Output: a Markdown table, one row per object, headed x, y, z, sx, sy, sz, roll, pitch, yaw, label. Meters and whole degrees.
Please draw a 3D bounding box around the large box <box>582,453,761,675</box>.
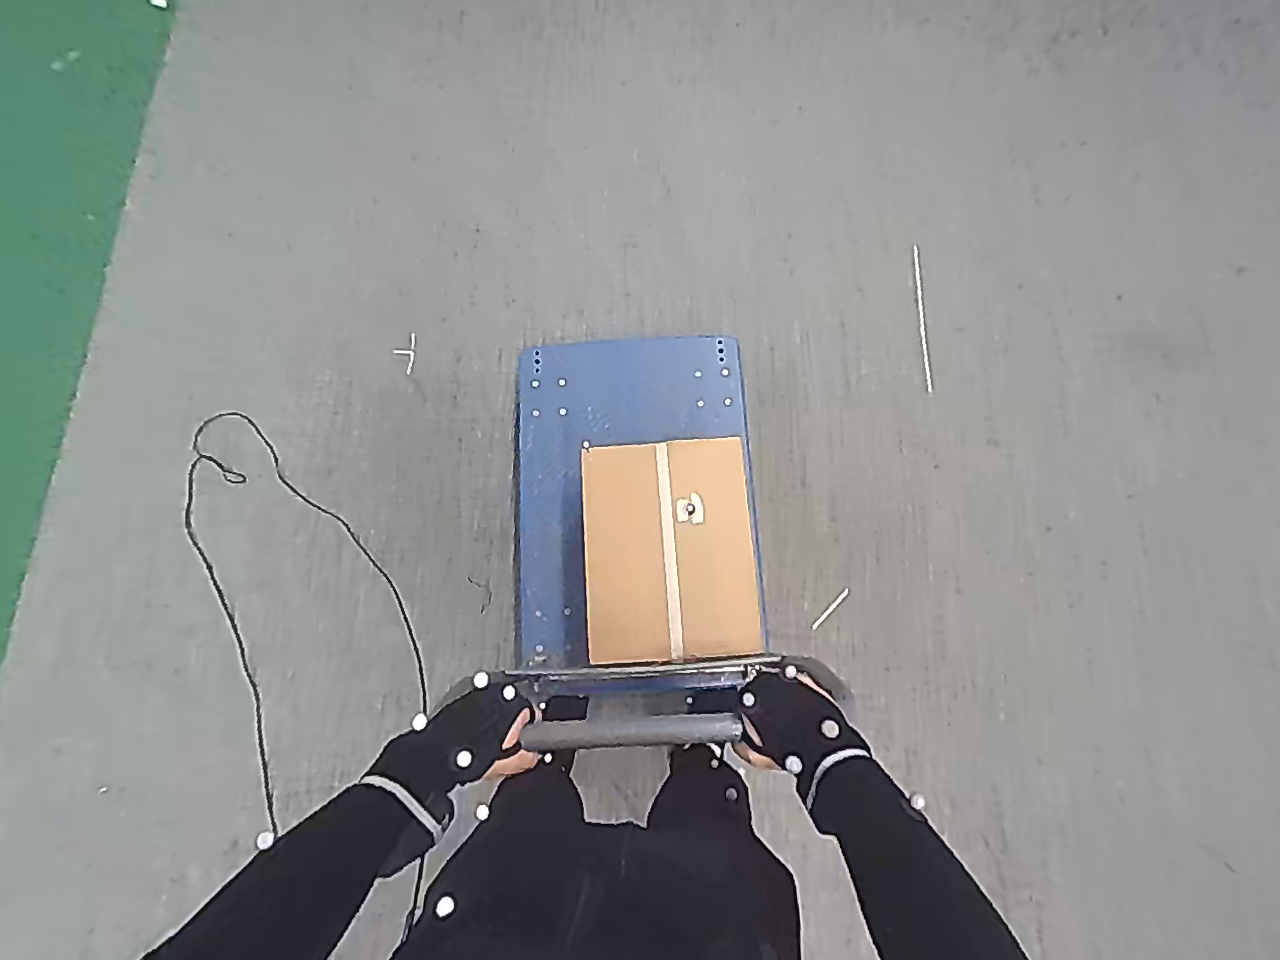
| x | y | z | sx | sy | sz | roll | pitch | yaw | label |
| --- | --- | --- | --- | --- | --- | --- | --- | --- | --- |
| 0.058 | 0.186 | 1.168 | 0.320 | 0.320 | 0.408 | -4 | 76 | 0 | large box |
